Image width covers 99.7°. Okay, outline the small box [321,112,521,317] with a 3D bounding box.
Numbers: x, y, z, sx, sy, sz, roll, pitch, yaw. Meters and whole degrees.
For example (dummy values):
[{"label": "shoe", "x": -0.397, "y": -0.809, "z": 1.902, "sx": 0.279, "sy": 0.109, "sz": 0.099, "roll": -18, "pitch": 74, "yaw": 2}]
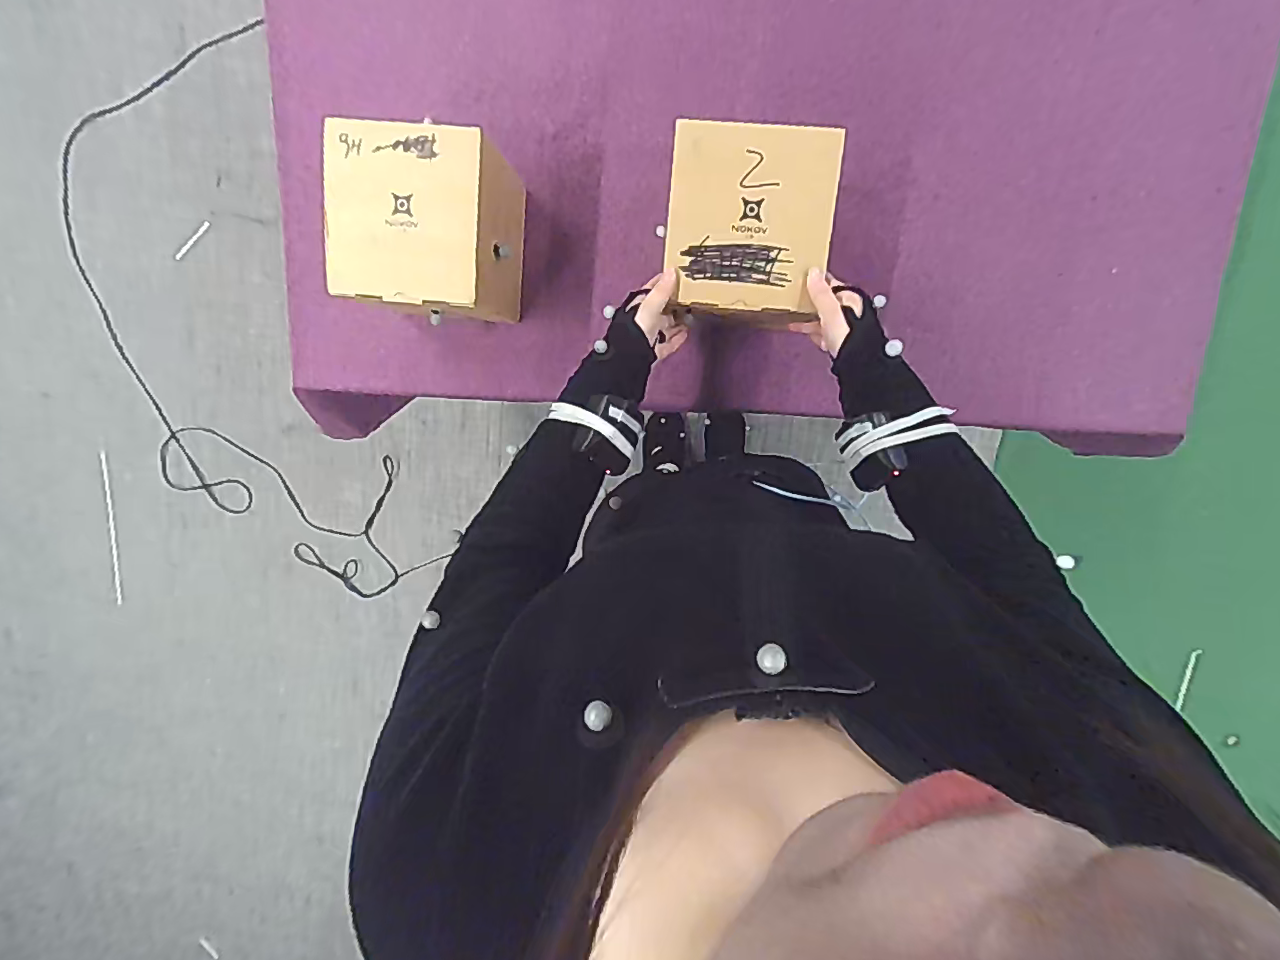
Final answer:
[{"label": "small box", "x": -0.244, "y": -0.293, "z": 0.637, "sx": 0.168, "sy": 0.176, "sz": 0.179, "roll": 7, "pitch": 102, "yaw": 1}]
